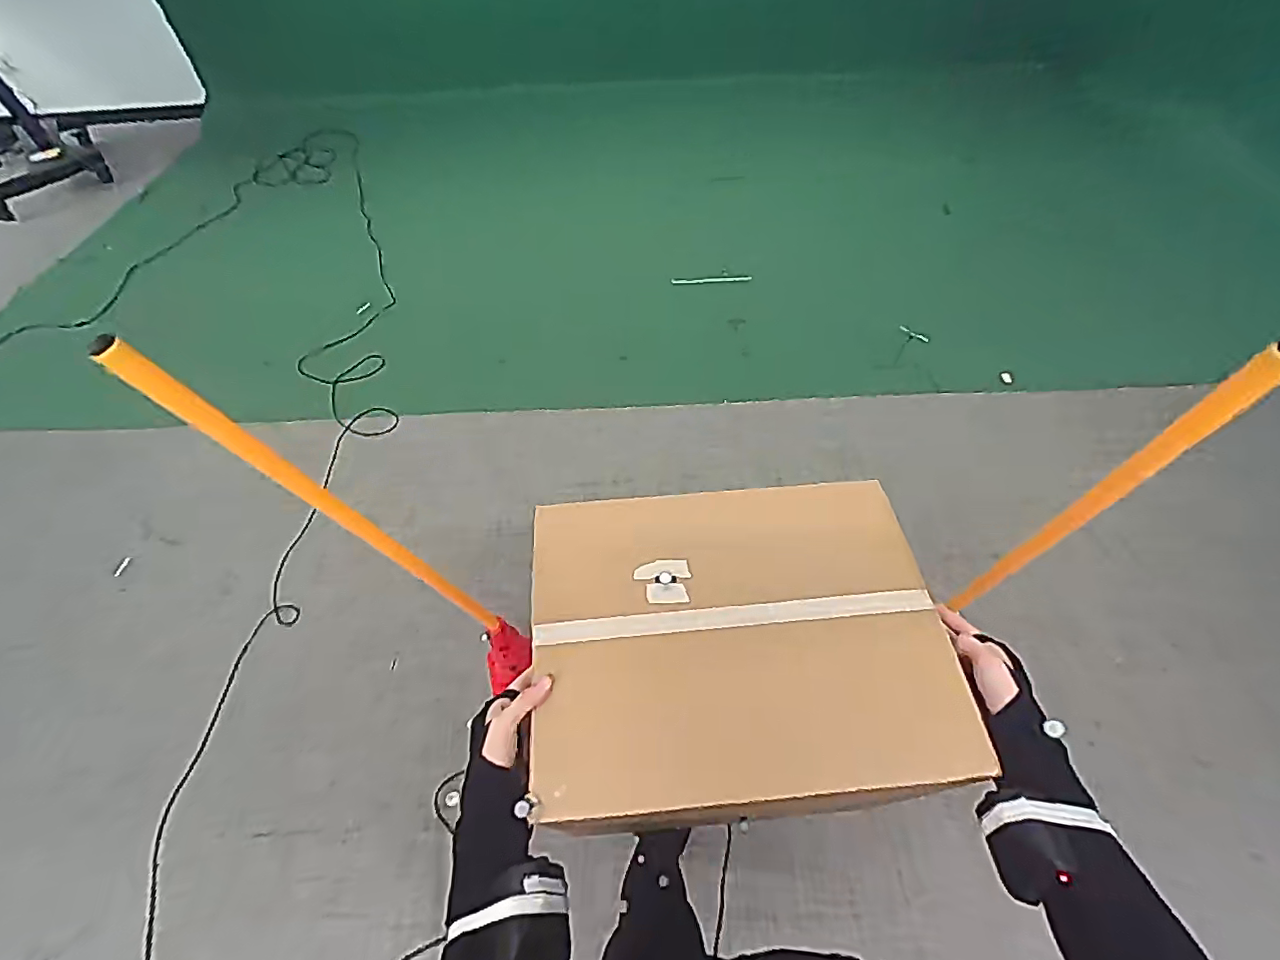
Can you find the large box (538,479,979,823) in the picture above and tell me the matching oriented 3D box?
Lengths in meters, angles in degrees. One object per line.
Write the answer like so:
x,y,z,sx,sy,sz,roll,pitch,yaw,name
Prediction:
0.100,0.226,0.681,0.408,0.320,0.320,-5,54,-1,large box
